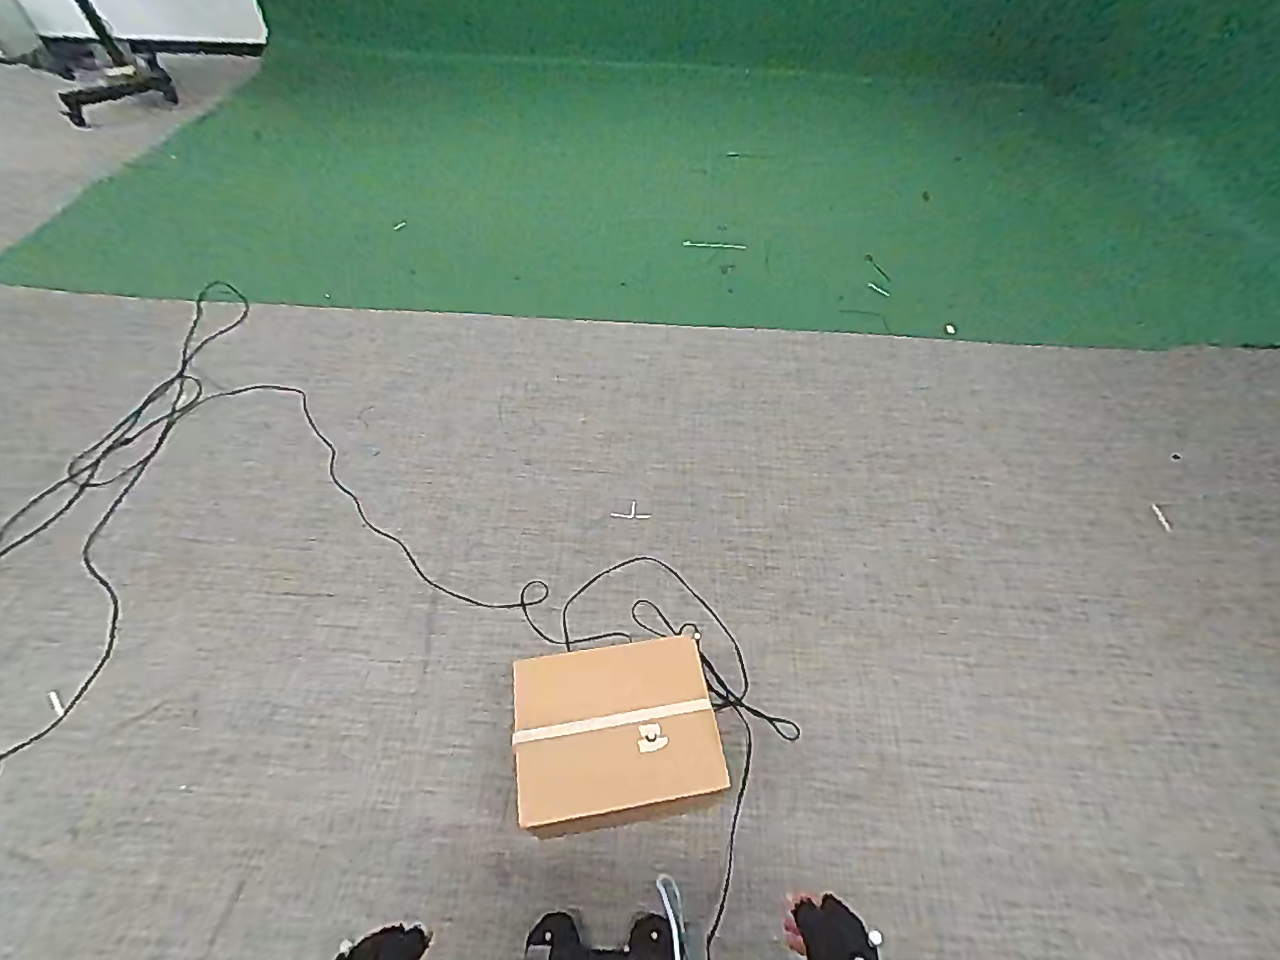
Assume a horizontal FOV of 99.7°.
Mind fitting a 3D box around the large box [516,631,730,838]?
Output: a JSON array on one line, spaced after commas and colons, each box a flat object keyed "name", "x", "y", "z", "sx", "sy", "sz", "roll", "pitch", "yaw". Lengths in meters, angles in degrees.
[{"name": "large box", "x": -0.053, "y": 0.579, "z": 1.224, "sx": 0.408, "sy": 0.320, "sz": 0.320, "roll": -7, "pitch": 54, "yaw": -8}]
